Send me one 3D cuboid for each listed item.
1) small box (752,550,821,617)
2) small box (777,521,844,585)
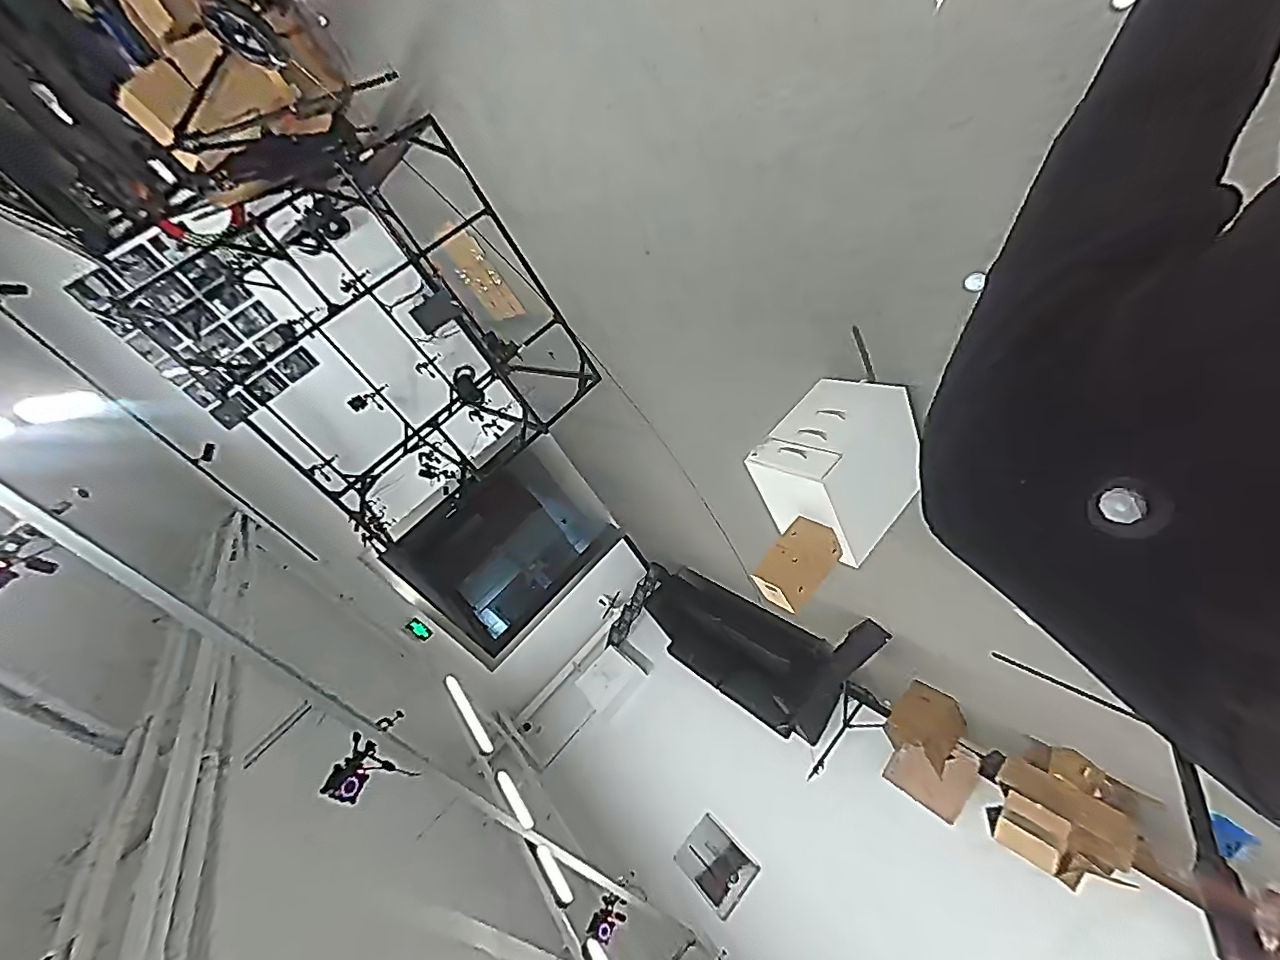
[{"bbox_3d":[0.585,0.405,2.152,0.168,0.176,0.179,22,153,56],"label":"small box"},{"bbox_3d":[0.693,0.290,2.195,0.179,0.176,0.168,24,154,52],"label":"small box"}]
